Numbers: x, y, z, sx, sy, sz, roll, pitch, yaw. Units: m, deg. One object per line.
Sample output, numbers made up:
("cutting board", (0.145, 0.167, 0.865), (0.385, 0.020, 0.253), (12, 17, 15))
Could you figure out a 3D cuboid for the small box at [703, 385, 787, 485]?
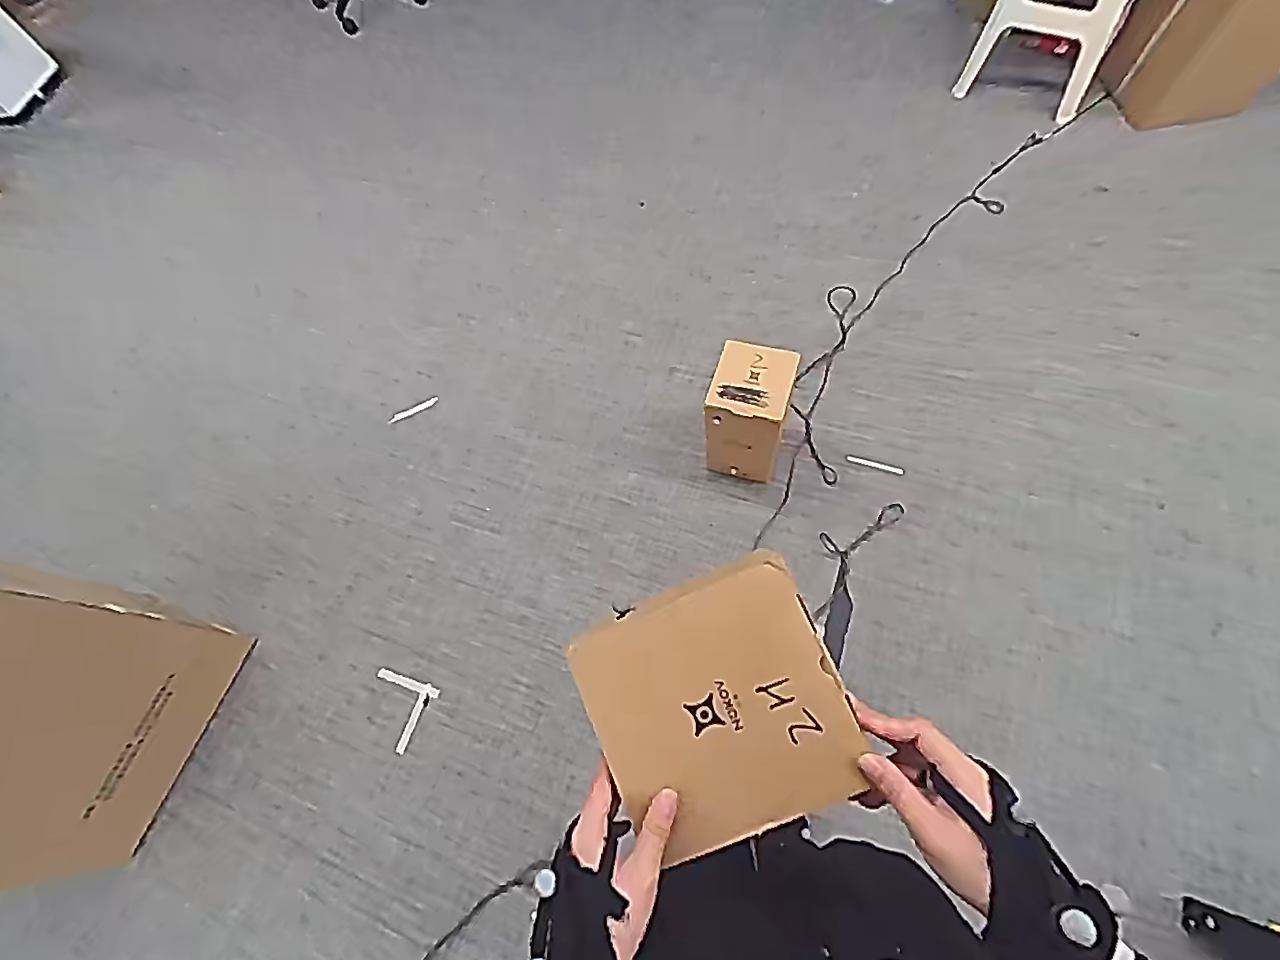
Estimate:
("small box", (0.262, -0.110, 1.369), (0.168, 0.176, 0.179), (15, 70, 14))
